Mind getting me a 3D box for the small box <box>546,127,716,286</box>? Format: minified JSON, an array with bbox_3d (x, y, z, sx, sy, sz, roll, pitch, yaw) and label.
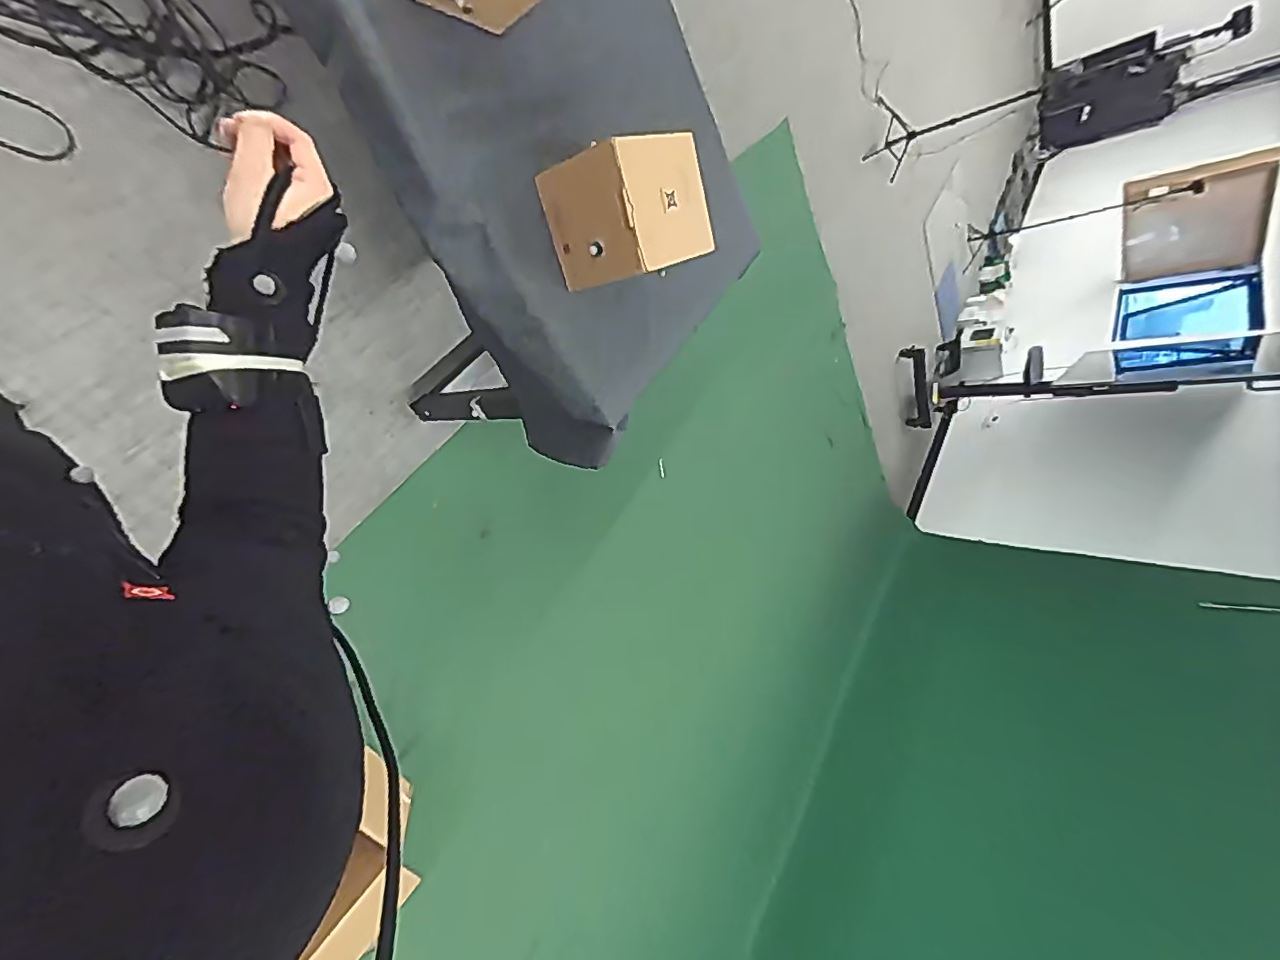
[{"bbox_3d":[-0.017,-0.399,0.802,0.179,0.176,0.168,-36,120,-40],"label":"small box"}]
